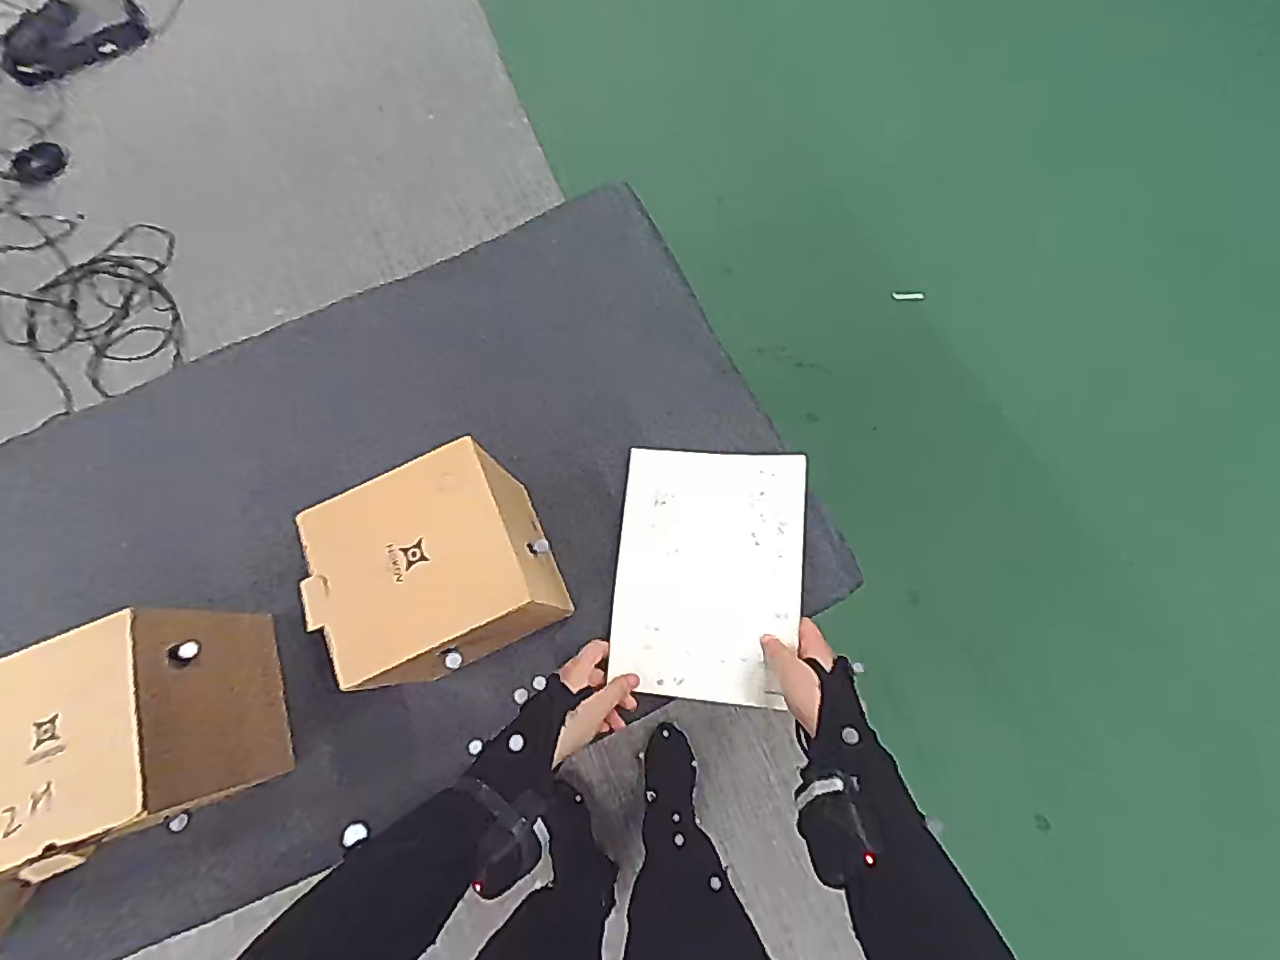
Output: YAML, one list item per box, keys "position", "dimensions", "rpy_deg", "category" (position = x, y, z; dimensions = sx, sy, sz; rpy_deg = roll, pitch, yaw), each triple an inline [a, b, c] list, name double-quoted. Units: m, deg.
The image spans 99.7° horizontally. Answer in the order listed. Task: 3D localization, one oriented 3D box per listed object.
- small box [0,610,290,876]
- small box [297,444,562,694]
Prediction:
- position: [-0.486, 0.243, 0.531]
  dimensions: [0.168, 0.176, 0.179]
  rpy_deg: [-22, 73, 0]
  category: "small box"
- position: [-0.192, 0.092, 0.544]
  dimensions: [0.179, 0.176, 0.168]
  rpy_deg: [-26, 72, -1]
  category: "small box"
